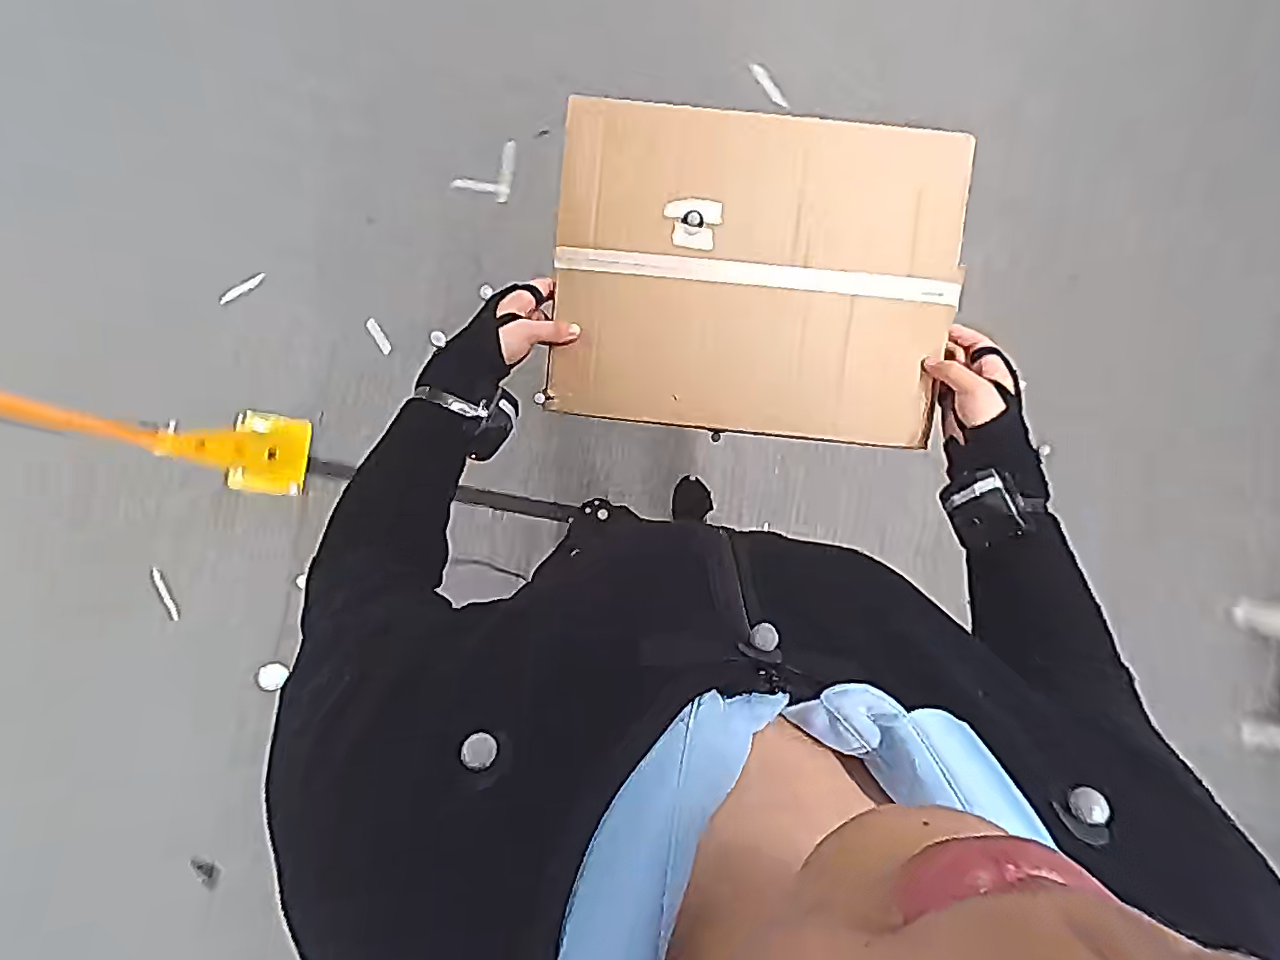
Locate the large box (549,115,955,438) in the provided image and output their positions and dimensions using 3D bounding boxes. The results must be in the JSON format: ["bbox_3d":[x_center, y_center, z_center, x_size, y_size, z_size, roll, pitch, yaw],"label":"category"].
[{"bbox_3d":[0.116,-0.225,0.707,0.408,0.320,0.320,4,95,2],"label":"large box"}]
